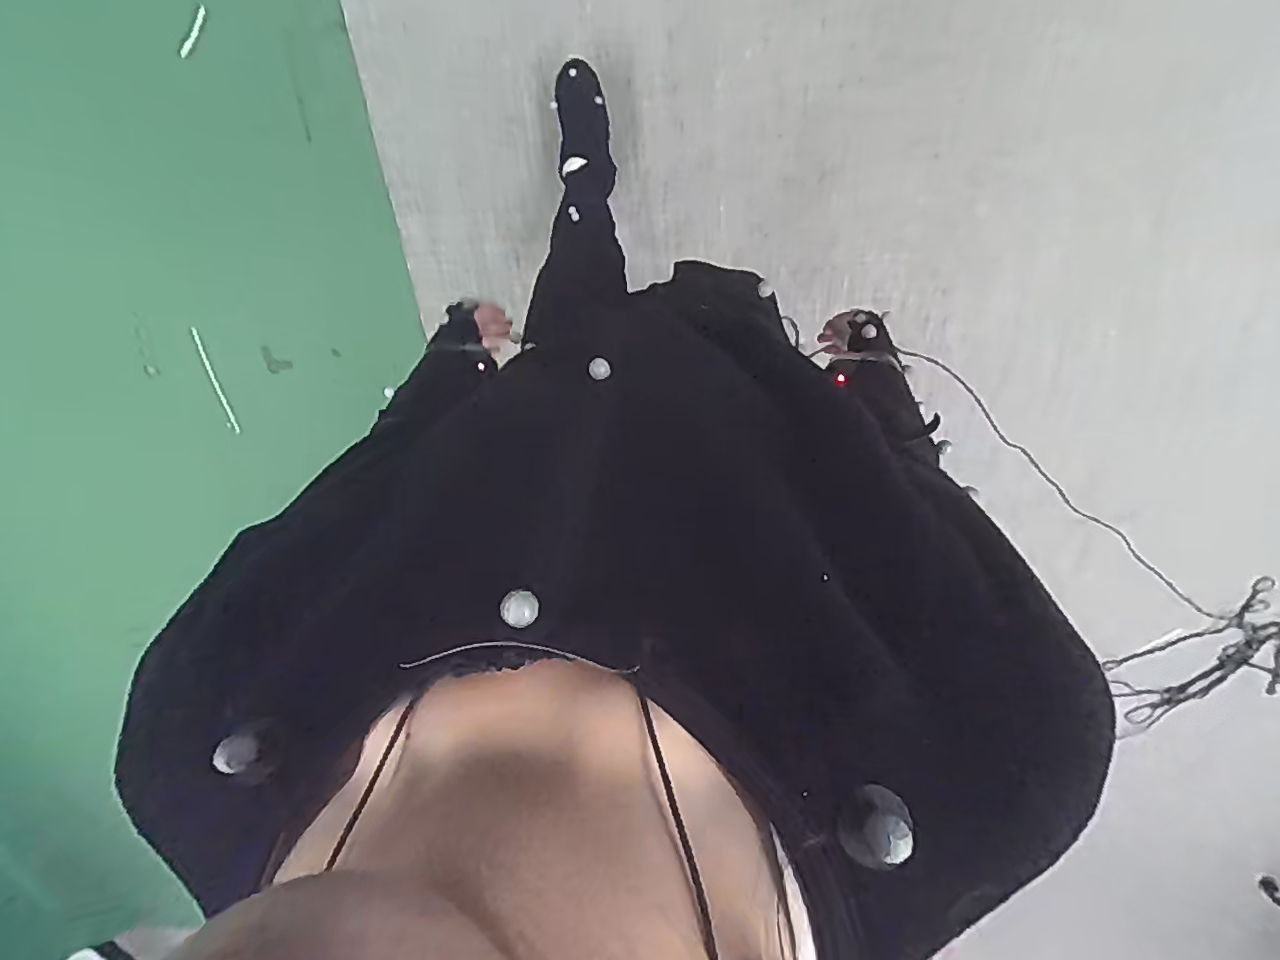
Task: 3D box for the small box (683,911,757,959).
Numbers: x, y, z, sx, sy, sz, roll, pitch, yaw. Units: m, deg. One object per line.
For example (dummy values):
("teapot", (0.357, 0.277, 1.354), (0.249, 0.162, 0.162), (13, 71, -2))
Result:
("small box", (0.198, 1.181, 1.310), (0.179, 0.176, 0.168), (-6, 118, 8))
